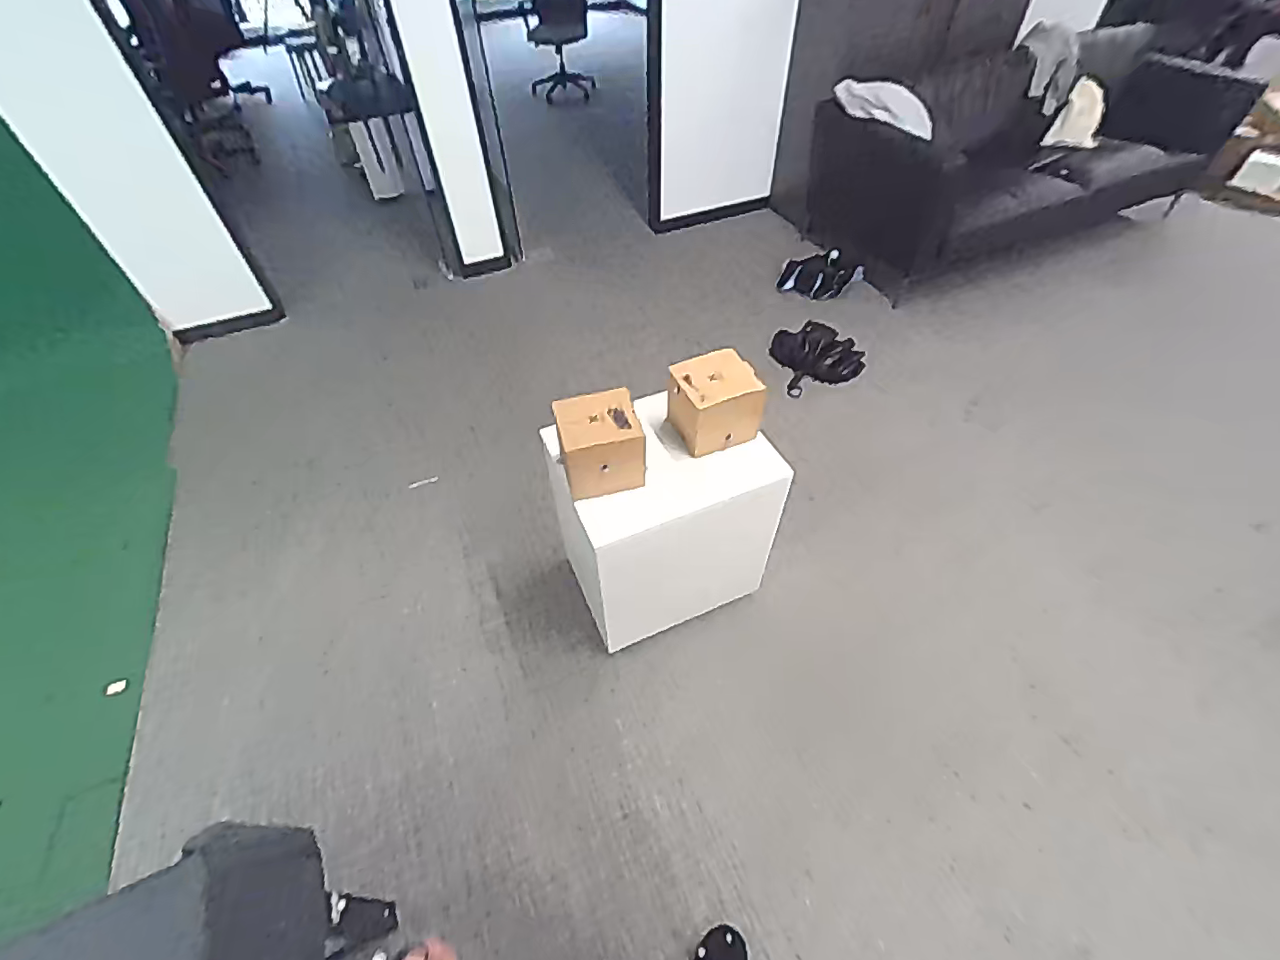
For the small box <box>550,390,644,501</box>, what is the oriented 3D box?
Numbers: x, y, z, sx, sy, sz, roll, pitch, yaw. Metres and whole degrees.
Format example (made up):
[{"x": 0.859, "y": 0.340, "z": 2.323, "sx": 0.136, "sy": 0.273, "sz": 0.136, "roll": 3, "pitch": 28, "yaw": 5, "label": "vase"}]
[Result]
[{"x": -0.098, "y": -0.076, "z": 1.220, "sx": 0.179, "sy": 0.176, "sz": 0.168, "roll": -12, "pitch": 49, "yaw": -11, "label": "small box"}]

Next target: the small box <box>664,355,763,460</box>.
[{"x": 0.170, "y": -0.174, "z": 1.313, "sx": 0.179, "sy": 0.176, "sz": 0.168, "roll": -17, "pitch": 51, "yaw": -15, "label": "small box"}]
